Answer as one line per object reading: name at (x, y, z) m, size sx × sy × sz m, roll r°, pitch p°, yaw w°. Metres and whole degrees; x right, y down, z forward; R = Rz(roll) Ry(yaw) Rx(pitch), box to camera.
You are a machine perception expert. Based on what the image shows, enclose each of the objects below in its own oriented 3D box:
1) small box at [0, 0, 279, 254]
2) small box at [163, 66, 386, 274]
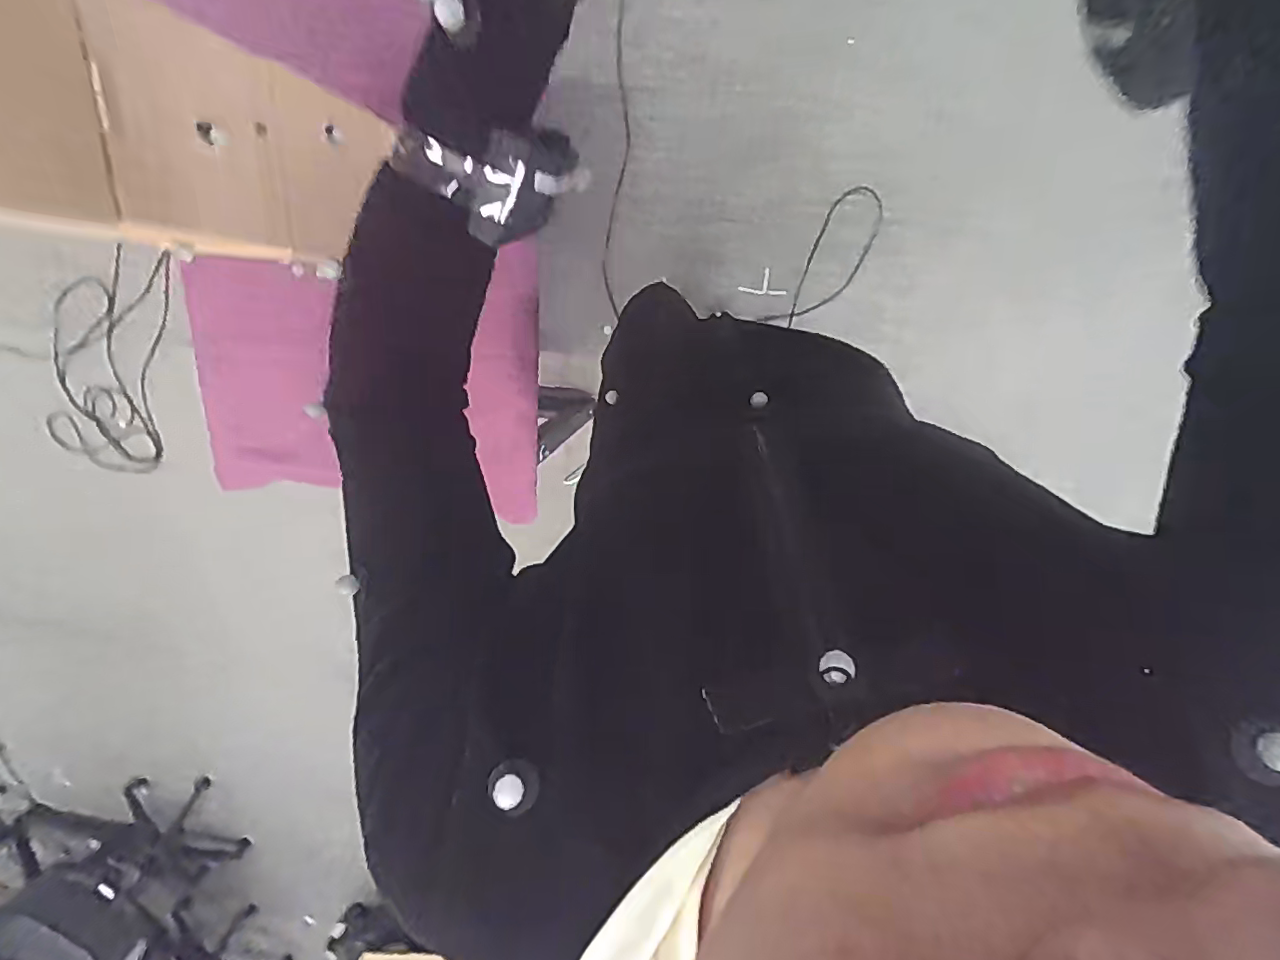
small box at (-0.452, -0.297, 0.472) m, size 0.179 × 0.176 × 0.168 m, roll 6°, pitch 107°, yaw 8°
small box at (-0.419, -0.343, 0.625) m, size 0.168 × 0.176 × 0.179 m, roll 7°, pitch 108°, yaw 8°
